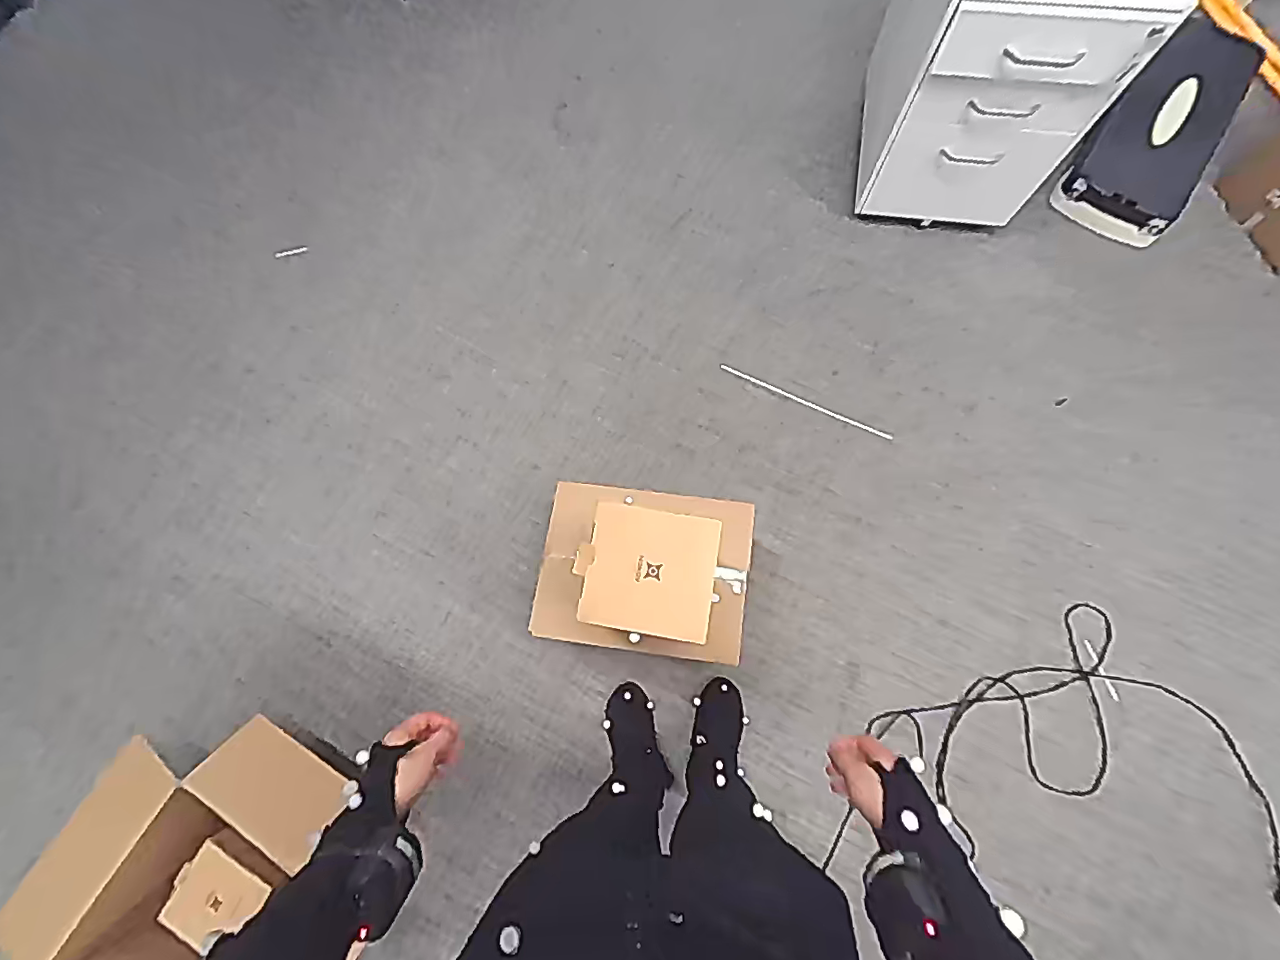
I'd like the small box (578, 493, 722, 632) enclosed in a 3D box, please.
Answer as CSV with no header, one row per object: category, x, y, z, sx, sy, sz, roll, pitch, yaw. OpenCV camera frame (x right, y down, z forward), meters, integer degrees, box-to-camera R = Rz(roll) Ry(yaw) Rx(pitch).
small box,0.020,0.124,0.811,0.179,0.176,0.168,8,79,7
